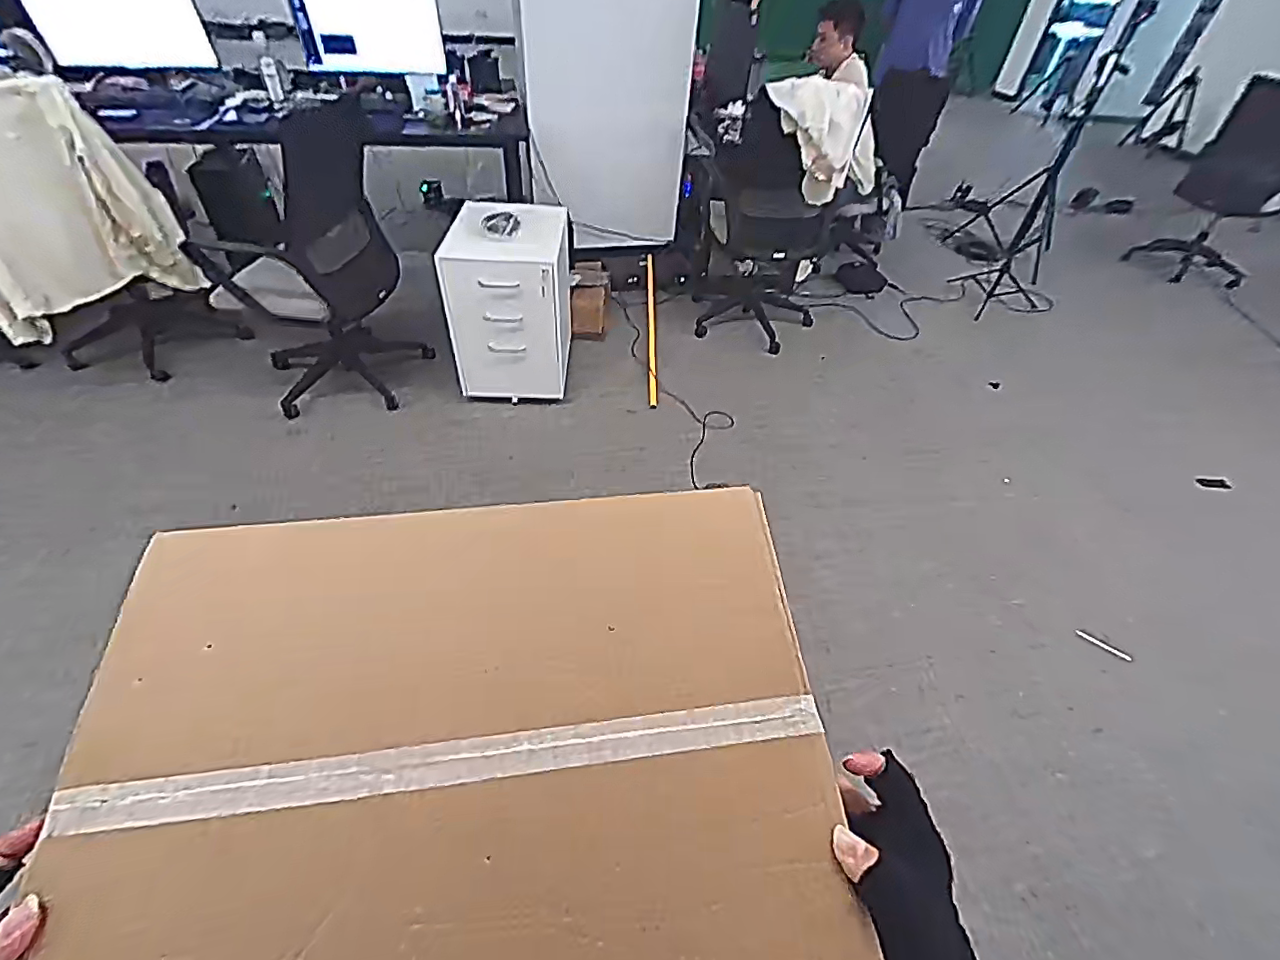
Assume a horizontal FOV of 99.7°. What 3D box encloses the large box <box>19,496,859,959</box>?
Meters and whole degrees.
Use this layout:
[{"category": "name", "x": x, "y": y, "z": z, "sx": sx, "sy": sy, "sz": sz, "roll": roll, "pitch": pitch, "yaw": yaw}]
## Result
[{"category": "large box", "x": -0.107, "y": 0.233, "z": 0.435, "sx": 0.408, "sy": 0.320, "sz": 0.320, "roll": -4, "pitch": 59, "yaw": -6}]
